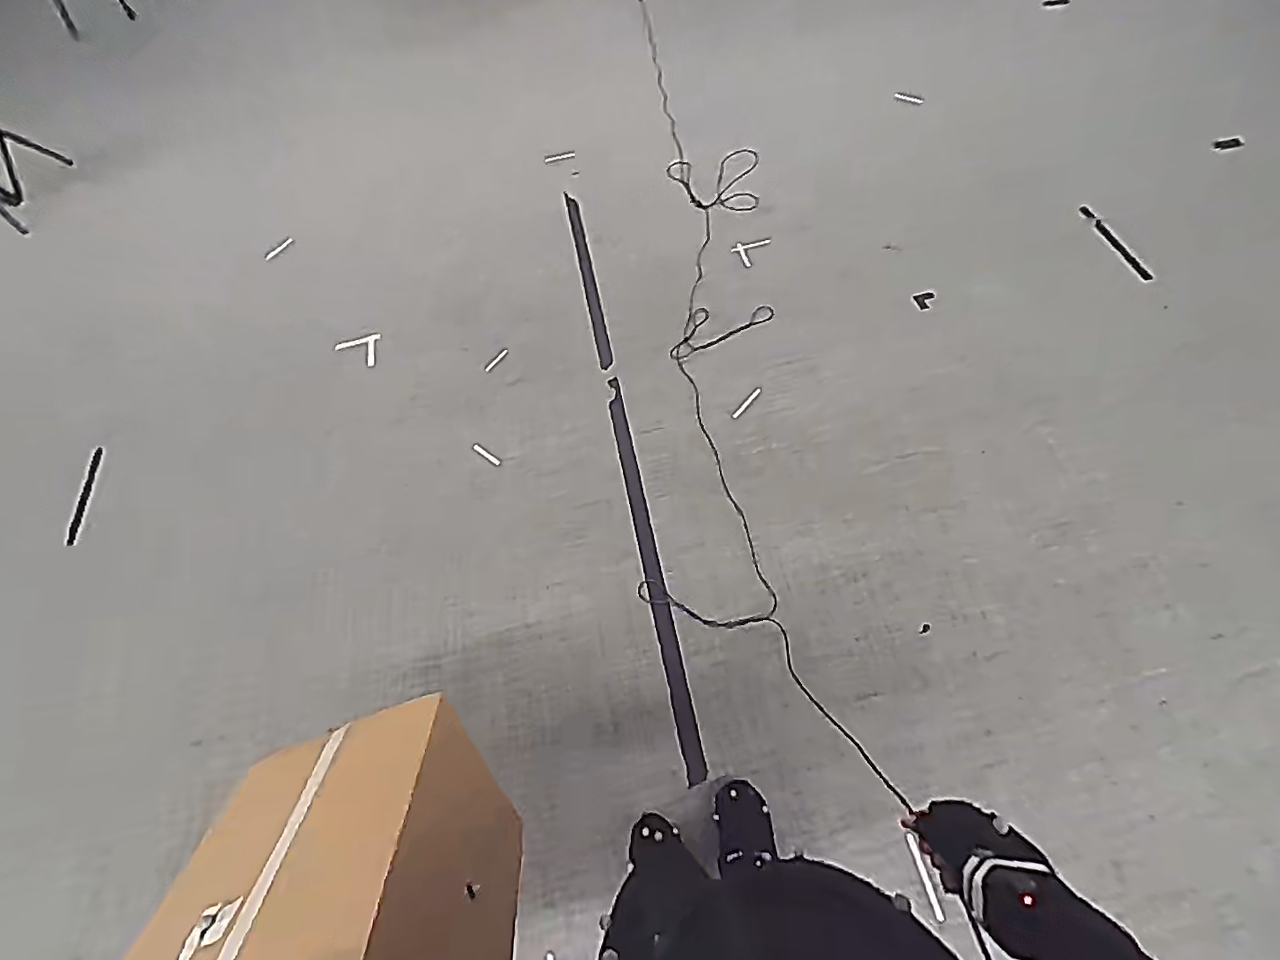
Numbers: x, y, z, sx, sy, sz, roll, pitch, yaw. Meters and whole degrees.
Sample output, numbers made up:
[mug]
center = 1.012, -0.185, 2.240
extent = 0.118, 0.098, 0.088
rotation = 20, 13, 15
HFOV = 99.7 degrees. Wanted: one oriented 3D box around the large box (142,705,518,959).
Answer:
[large box]
center = -0.371, 0.595, 0.709
extent = 0.320, 0.320, 0.408
rotation = -21, 20, 0
